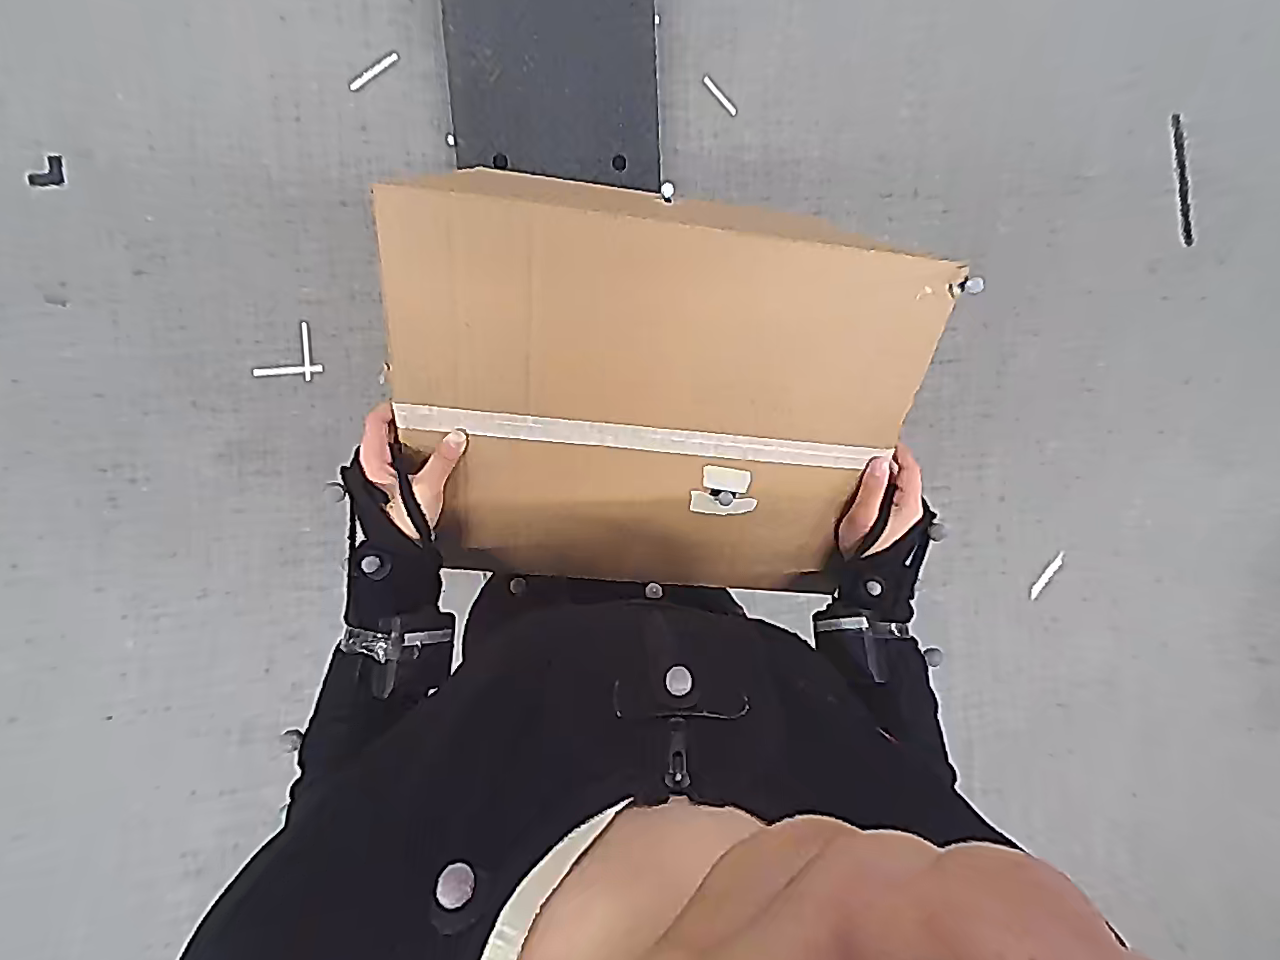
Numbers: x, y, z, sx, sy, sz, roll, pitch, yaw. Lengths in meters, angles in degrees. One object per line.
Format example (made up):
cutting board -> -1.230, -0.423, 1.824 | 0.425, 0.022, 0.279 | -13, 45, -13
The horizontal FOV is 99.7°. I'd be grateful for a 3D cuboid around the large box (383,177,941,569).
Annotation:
large box -> 0.000, -0.126, 0.578 | 0.408, 0.320, 0.320 | 4, 122, -7
